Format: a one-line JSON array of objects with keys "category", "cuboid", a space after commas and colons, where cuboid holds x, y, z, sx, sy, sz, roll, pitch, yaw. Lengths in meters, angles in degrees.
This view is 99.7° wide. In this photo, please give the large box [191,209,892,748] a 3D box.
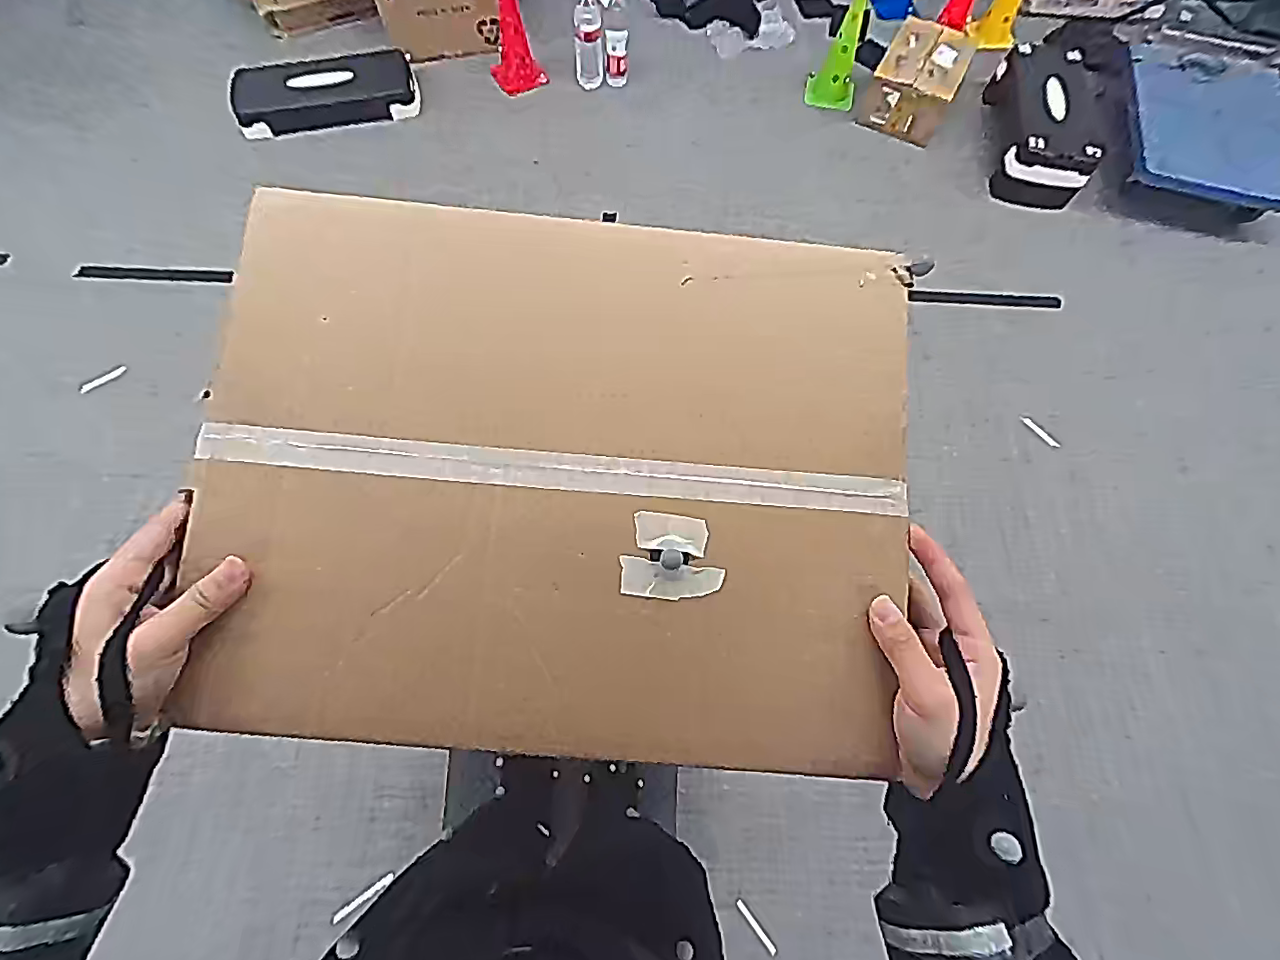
[{"category": "large box", "cuboid": [-0.052, 0.012, 0.475, 0.408, 0.320, 0.320, 5, 83, -2]}]
